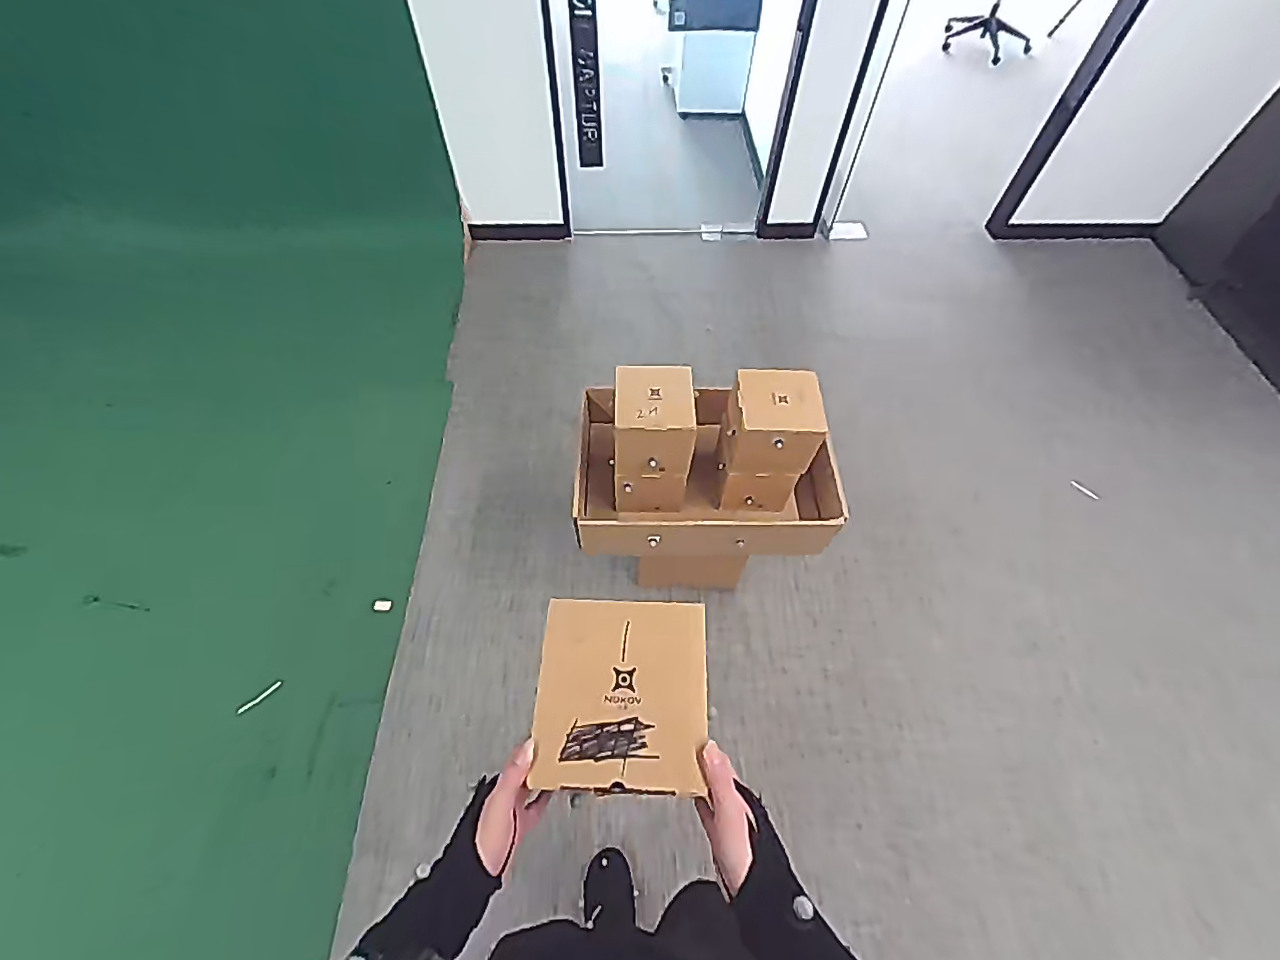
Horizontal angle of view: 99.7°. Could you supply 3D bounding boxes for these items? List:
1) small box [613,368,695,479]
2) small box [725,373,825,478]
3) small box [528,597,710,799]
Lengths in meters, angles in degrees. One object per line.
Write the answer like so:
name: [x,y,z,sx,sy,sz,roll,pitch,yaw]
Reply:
small box: [0.025,-0.123,1.183,0.168,0.176,0.179,1,57,-2]
small box: [0.287,-0.116,1.195,0.179,0.176,0.168,3,58,-2]
small box: [-0.015,0.240,0.584,0.168,0.176,0.179,2,58,0]
